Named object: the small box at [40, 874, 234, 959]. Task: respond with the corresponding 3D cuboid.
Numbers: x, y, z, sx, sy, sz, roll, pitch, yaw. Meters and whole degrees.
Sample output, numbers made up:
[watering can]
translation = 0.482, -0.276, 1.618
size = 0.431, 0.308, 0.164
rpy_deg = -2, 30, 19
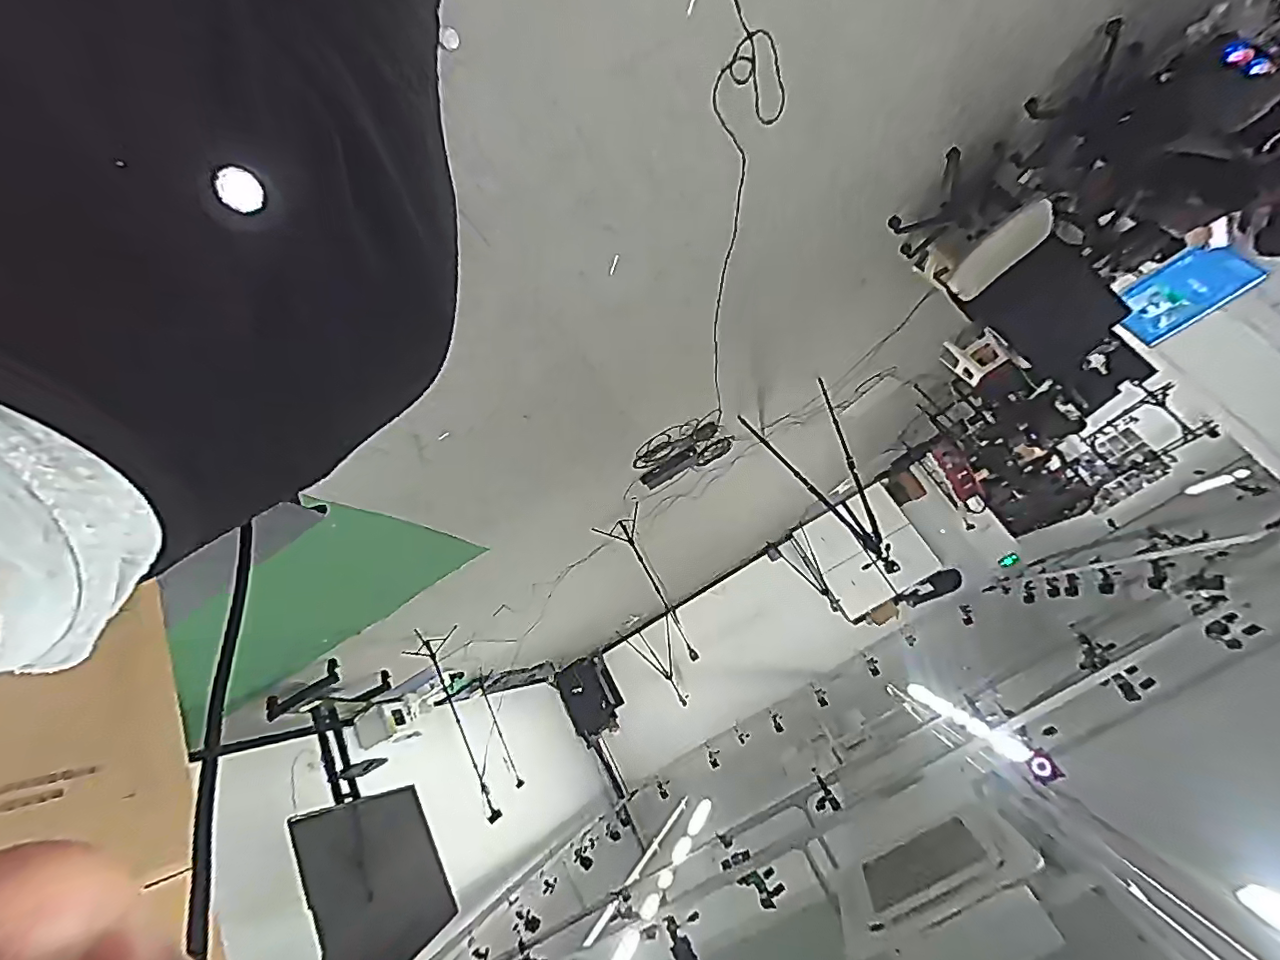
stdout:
[small box]
translation = -0.673, 0.670, 0.709
size = 0.168, 0.176, 0.179
rpy_deg = -37, 160, 9
